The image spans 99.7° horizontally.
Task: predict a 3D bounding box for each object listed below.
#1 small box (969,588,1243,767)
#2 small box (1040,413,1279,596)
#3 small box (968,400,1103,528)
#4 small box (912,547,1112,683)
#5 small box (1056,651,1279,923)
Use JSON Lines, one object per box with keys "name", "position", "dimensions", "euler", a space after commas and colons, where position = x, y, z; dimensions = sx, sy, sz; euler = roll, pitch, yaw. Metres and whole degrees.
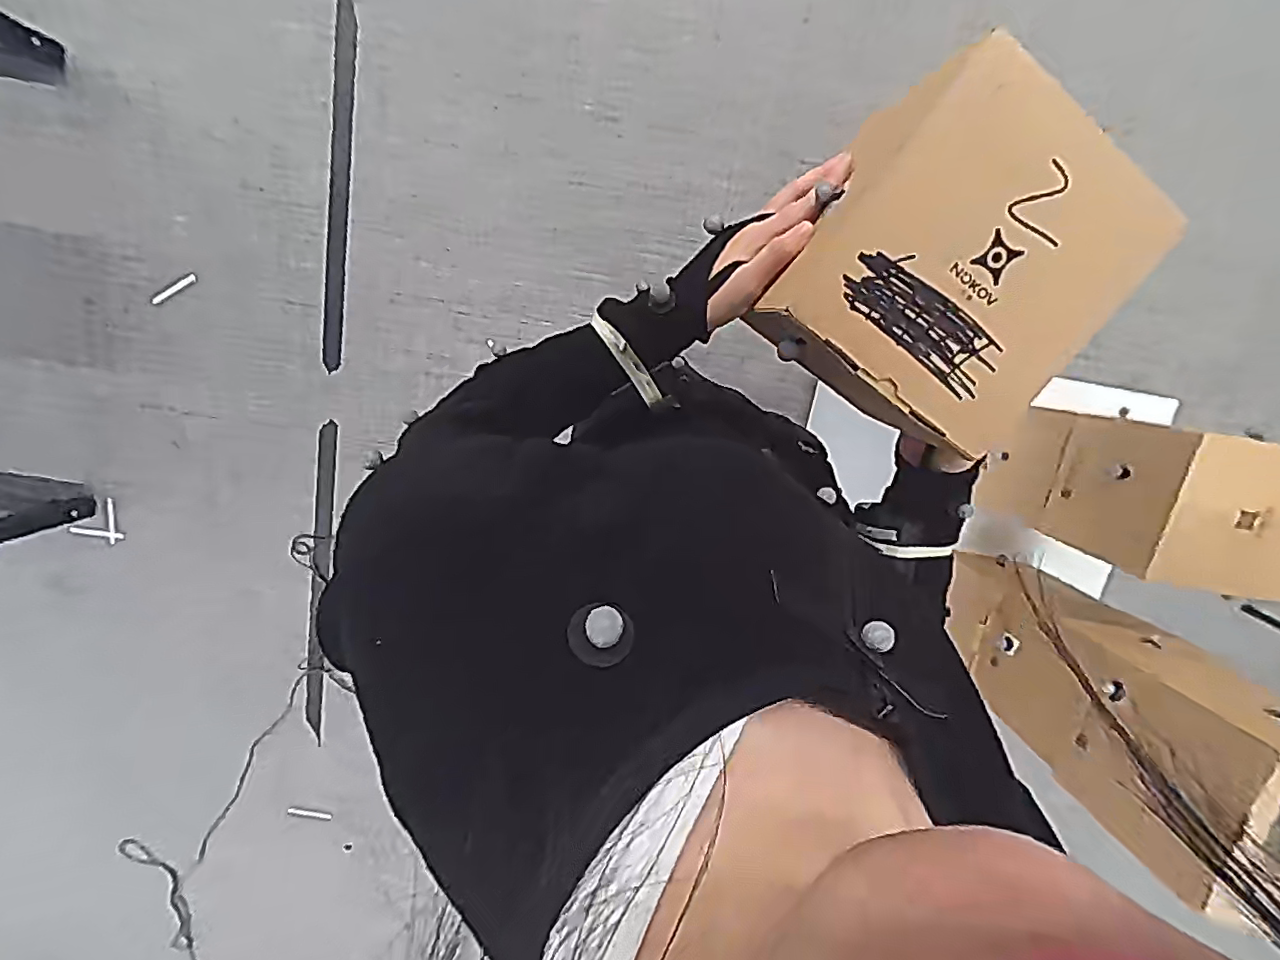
{"name": "small box", "position": [0.577, 0.256, 0.698], "dimensions": [0.179, 0.176, 0.168], "euler": [11, 102, -2]}
{"name": "small box", "position": [0.632, 0.018, 0.642], "dimensions": [0.179, 0.176, 0.168], "euler": [9, 104, -3]}
{"name": "small box", "position": [0.636, -0.021, 0.800], "dimensions": [0.179, 0.176, 0.168], "euler": [8, 103, -1]}
{"name": "small box", "position": [0.568, 0.217, 0.856], "dimensions": [0.179, 0.176, 0.168], "euler": [11, 103, -1]}
{"name": "small box", "position": [0.575, 0.292, 0.537], "dimensions": [0.179, 0.176, 0.168], "euler": [12, 101, -5]}
